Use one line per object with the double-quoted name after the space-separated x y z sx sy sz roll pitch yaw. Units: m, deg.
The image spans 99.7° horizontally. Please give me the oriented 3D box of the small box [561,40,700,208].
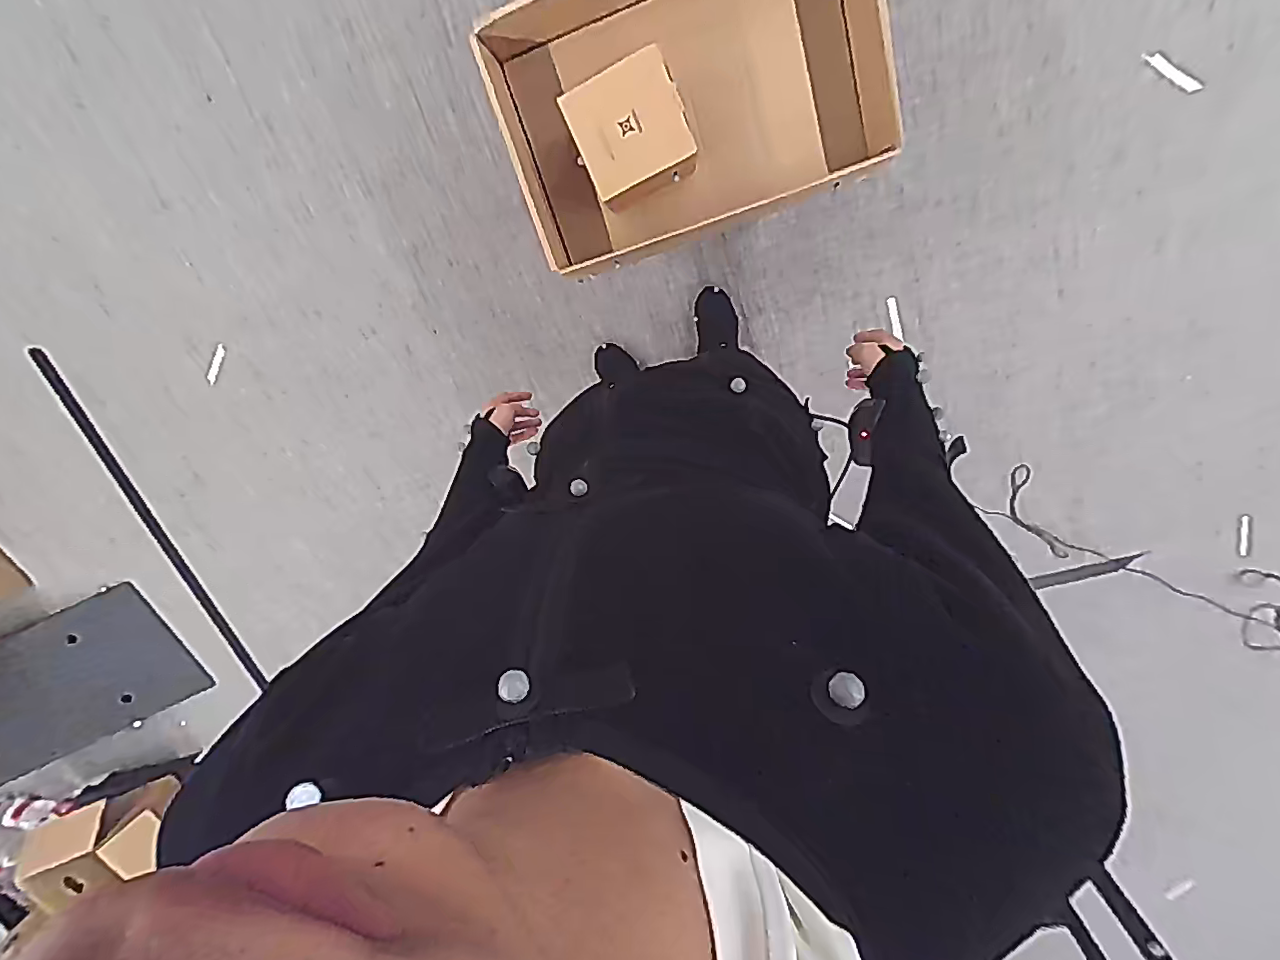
-0.012 -0.593 0.927 0.179 0.176 0.168 -23 107 12 "small box"
